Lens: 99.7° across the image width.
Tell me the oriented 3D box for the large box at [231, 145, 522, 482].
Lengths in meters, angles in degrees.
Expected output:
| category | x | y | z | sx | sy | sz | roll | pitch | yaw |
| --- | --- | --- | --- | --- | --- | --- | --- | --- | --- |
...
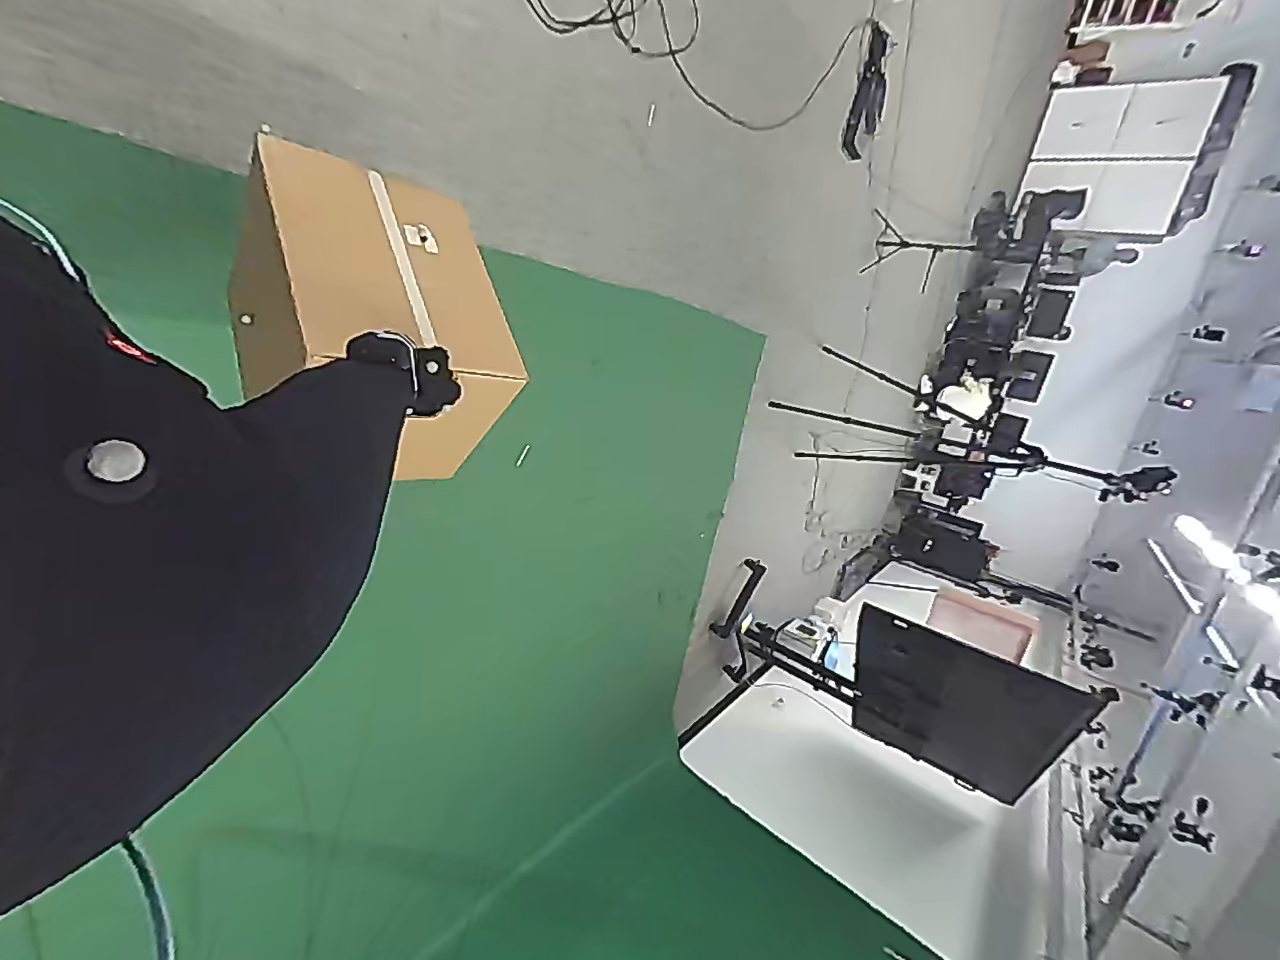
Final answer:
| category | x | y | z | sx | sy | sz | roll | pitch | yaw |
| --- | --- | --- | --- | --- | --- | --- | --- | --- | --- |
| large box | -0.462 | -0.248 | 0.918 | 0.320 | 0.408 | 0.320 | -3 | 151 | -47 |
